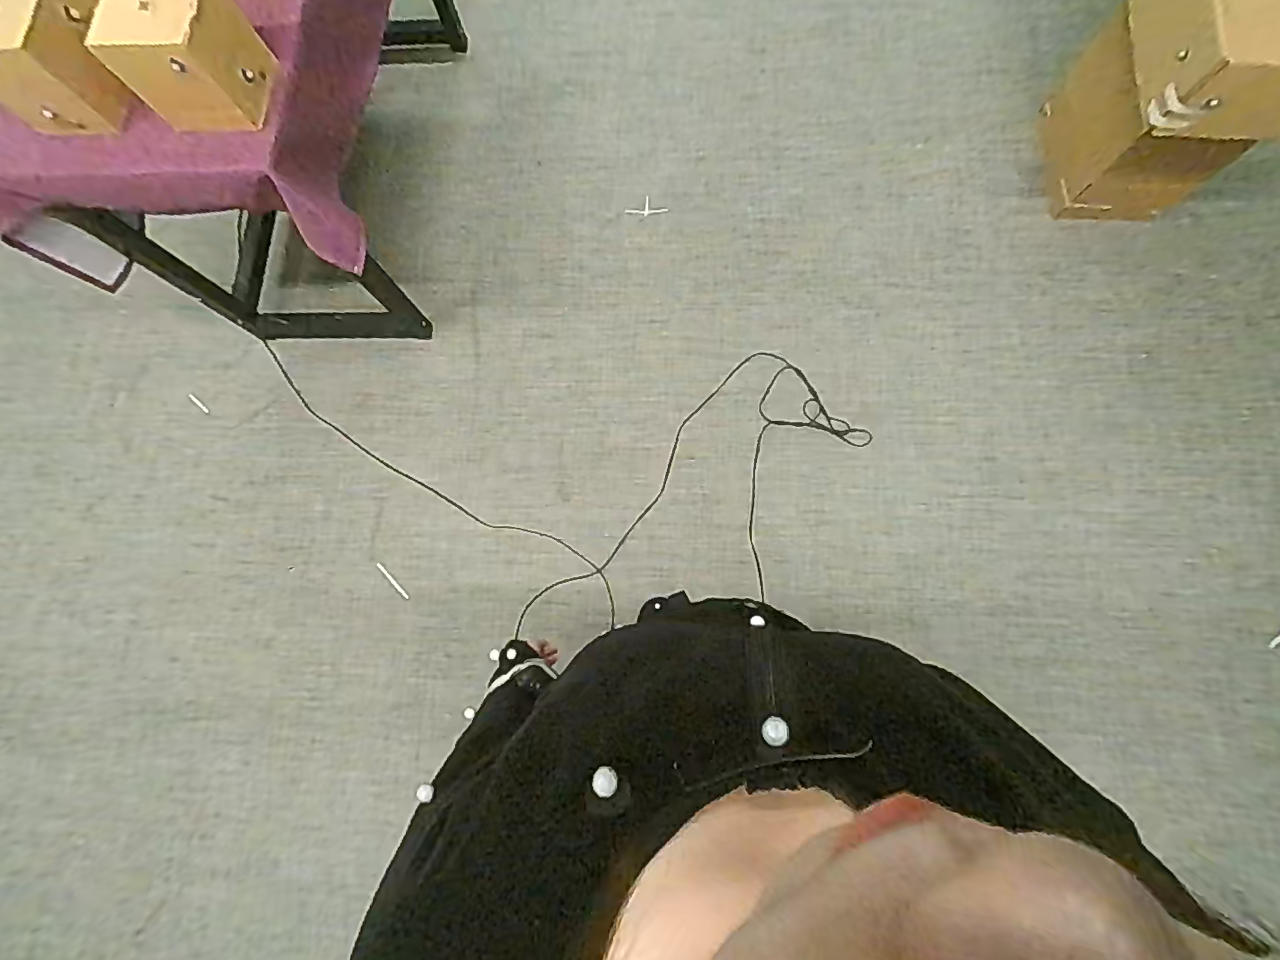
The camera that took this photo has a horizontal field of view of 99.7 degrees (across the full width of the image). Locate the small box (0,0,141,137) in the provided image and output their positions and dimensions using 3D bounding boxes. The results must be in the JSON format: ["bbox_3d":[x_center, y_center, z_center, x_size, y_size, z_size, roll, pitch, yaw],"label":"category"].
[{"bbox_3d":[-1.072,-0.772,0.992,0.168,0.176,0.179,3,78,5],"label":"small box"}]

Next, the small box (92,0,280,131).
[{"bbox_3d":[-0.801,-0.762,0.972,0.179,0.176,0.168,2,78,4],"label":"small box"}]
